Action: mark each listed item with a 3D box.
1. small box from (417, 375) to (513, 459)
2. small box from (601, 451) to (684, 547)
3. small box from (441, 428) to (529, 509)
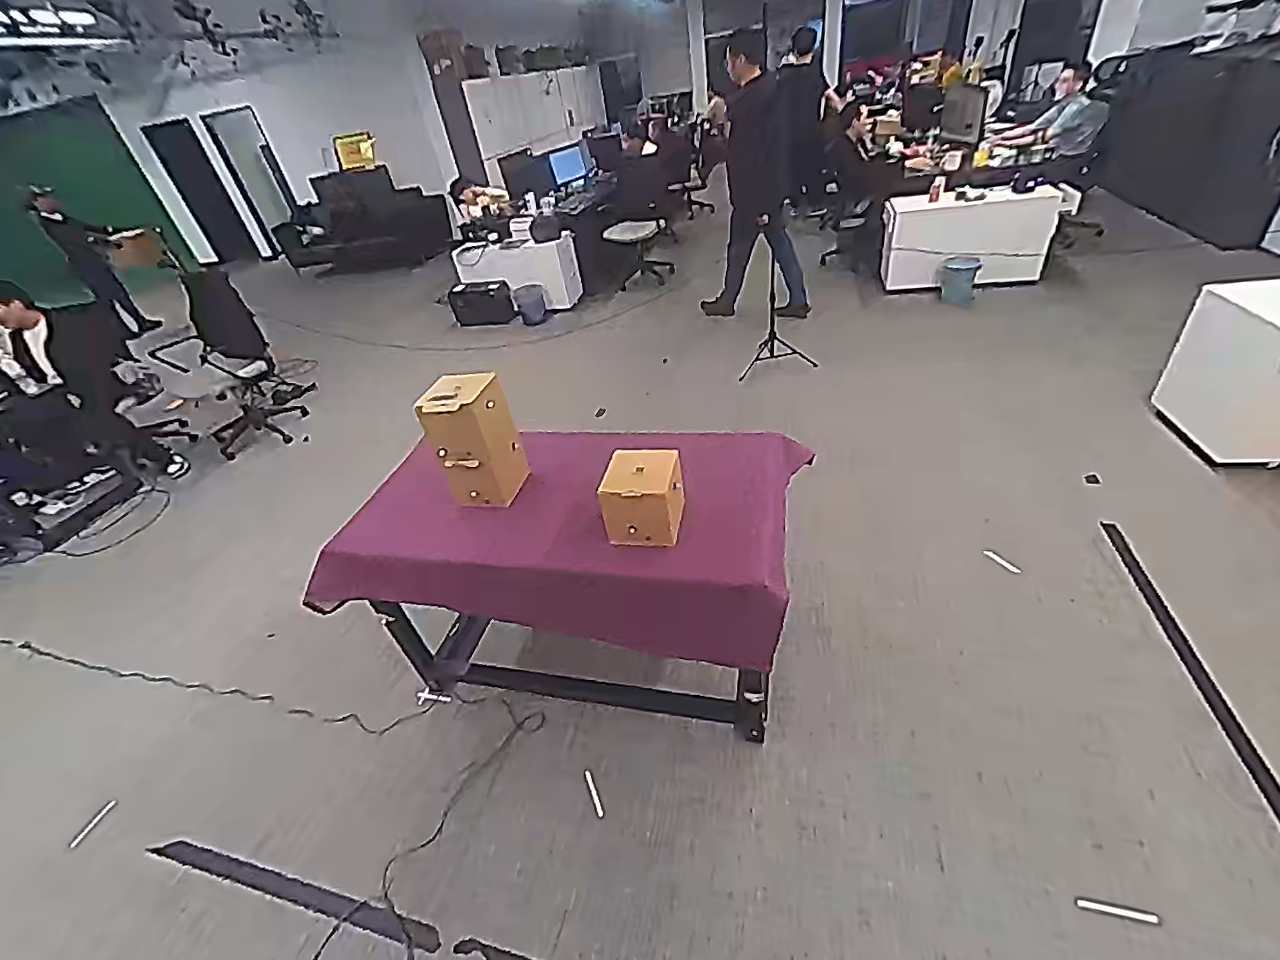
[{"bbox_3d":[-0.464,-0.167,1.466,0.168,0.176,0.179,-1,37,12],"label":"small box"},{"bbox_3d":[0.015,0.045,1.345,0.168,0.176,0.179,1,38,15],"label":"small box"},{"bbox_3d":[-0.438,-0.037,1.563,0.168,0.176,0.179,1,39,16],"label":"small box"}]
